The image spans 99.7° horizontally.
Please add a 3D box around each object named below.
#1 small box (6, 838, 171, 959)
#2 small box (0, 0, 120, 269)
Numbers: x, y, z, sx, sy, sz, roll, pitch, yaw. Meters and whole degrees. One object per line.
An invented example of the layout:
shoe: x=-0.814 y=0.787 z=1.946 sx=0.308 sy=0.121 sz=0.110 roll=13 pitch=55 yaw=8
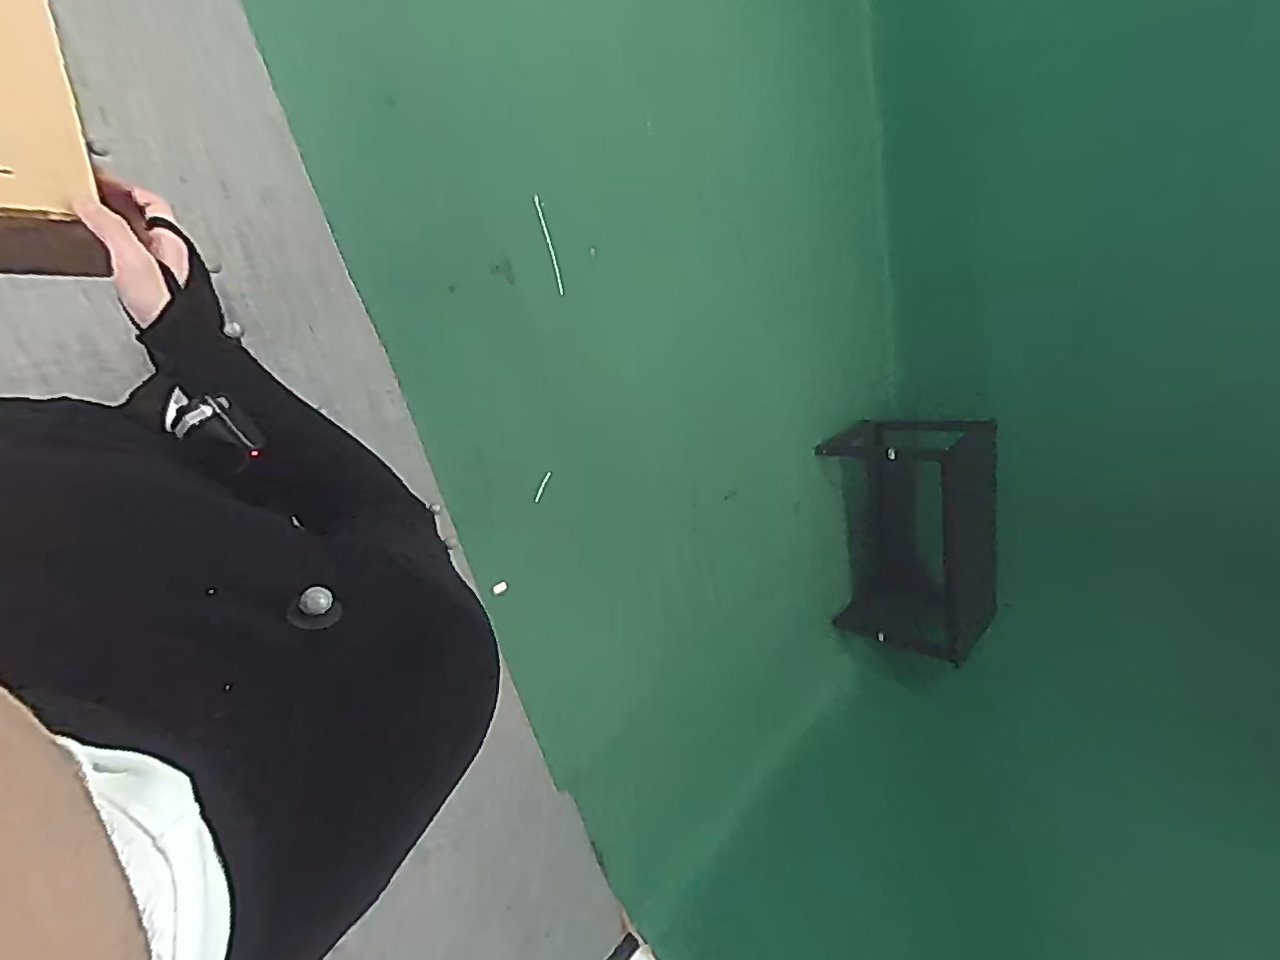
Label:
small box: x=-1.029 y=0.839 z=1.027 sx=0.168 sy=0.176 sz=0.179 roll=-26 pitch=112 yaw=-37
small box: x=-0.556 y=-0.283 z=0.437 sx=0.168 sy=0.176 sz=0.179 roll=-15 pitch=99 yaw=-39
